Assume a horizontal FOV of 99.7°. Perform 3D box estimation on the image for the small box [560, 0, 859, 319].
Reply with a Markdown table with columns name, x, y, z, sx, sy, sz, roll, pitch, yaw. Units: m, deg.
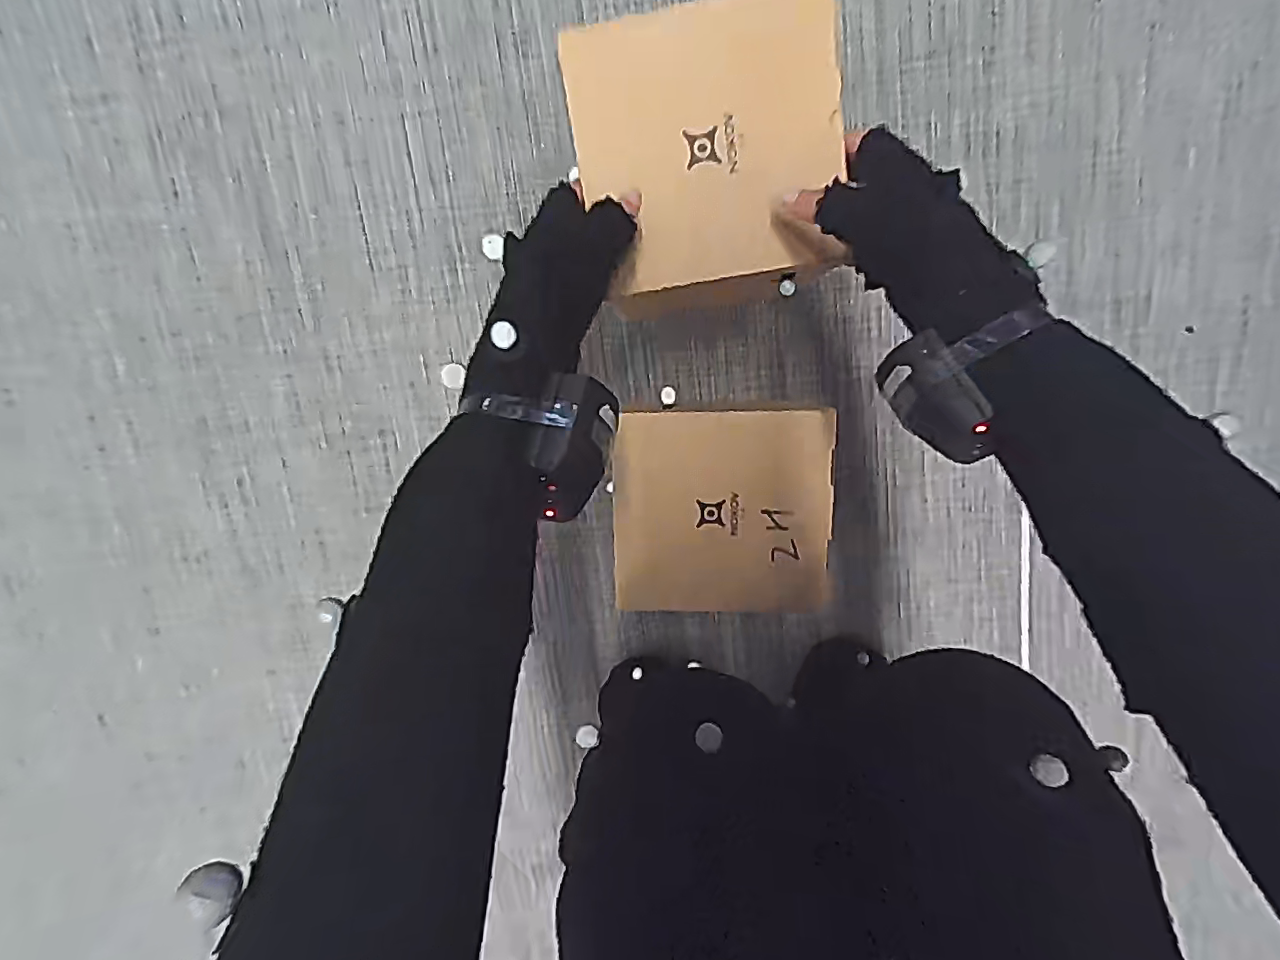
| name | x | y | z | sx | sy | sz | roll | pitch | yaw |
| --- | --- | --- | --- | --- | --- | --- | --- | --- | --- |
| small box | 0.049 | -0.227 | 0.421 | 0.179 | 0.176 | 0.168 | -8 | 101 | 3 |

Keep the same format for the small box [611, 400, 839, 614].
| name | x | y | z | sx | sy | sz | roll | pitch | yaw |
| --- | --- | --- | --- | --- | --- | --- | --- | --- | --- |
| small box | 0.071 | 0.013 | 0.508 | 0.179 | 0.176 | 0.168 | 0 | 102 | 4 |
